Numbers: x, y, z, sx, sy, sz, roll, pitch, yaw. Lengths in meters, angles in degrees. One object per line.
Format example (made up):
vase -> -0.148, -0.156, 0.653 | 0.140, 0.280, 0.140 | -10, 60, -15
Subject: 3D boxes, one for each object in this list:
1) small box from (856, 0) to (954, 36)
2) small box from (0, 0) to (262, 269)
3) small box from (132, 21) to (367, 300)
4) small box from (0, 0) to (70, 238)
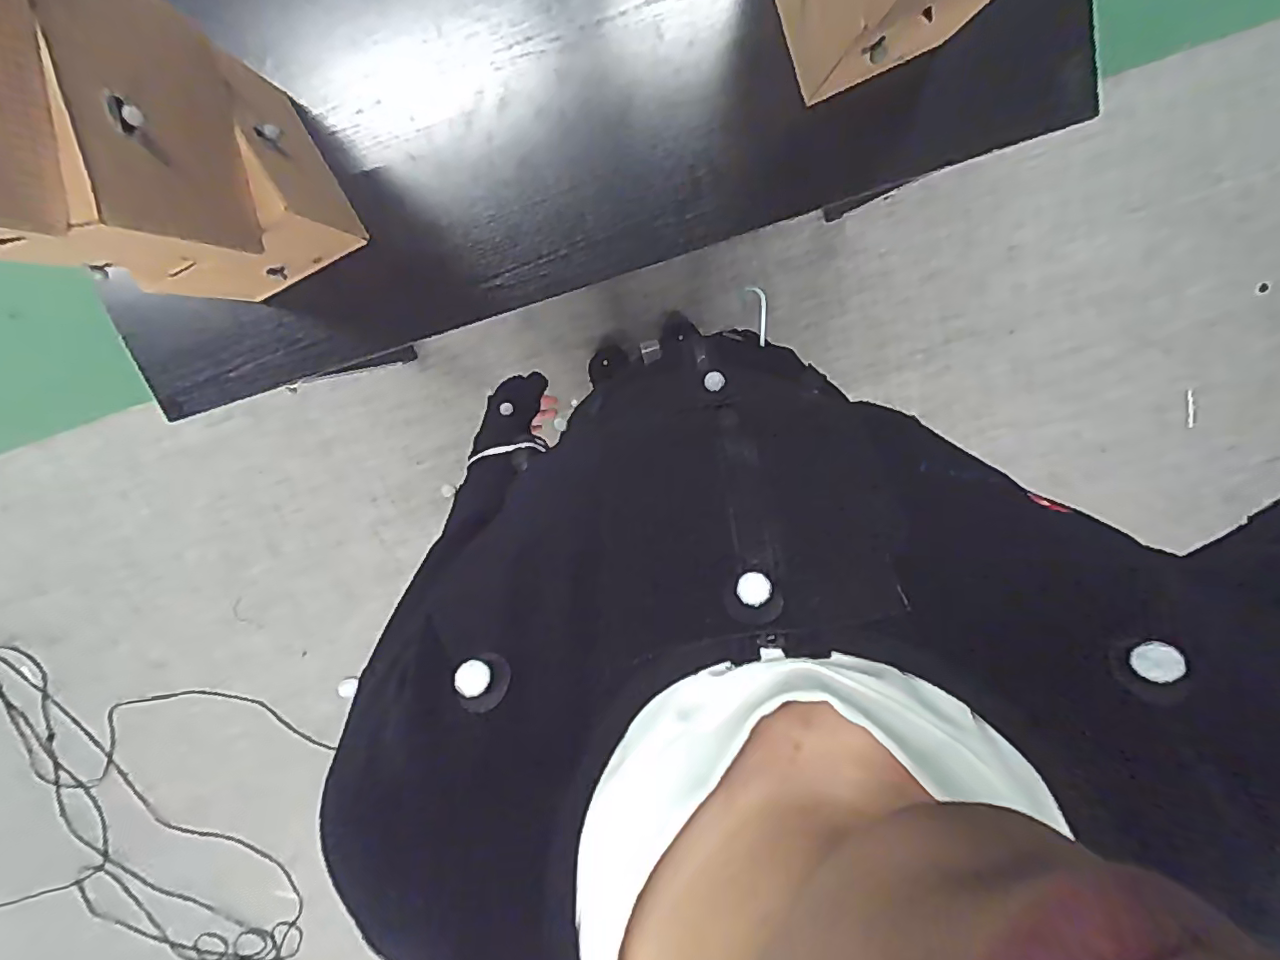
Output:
small box -> 0.234, -0.464, 0.361 | 0.168, 0.176, 0.179 | -25, 104, 6
small box -> -0.429, -0.258, 0.405 | 0.168, 0.176, 0.179 | -5, 106, -1
small box -> -0.430, -0.304, 0.563 | 0.168, 0.176, 0.179 | -25, 106, 5
small box -> -0.428, -0.218, 0.245 | 0.168, 0.176, 0.179 | 5, 107, -4
